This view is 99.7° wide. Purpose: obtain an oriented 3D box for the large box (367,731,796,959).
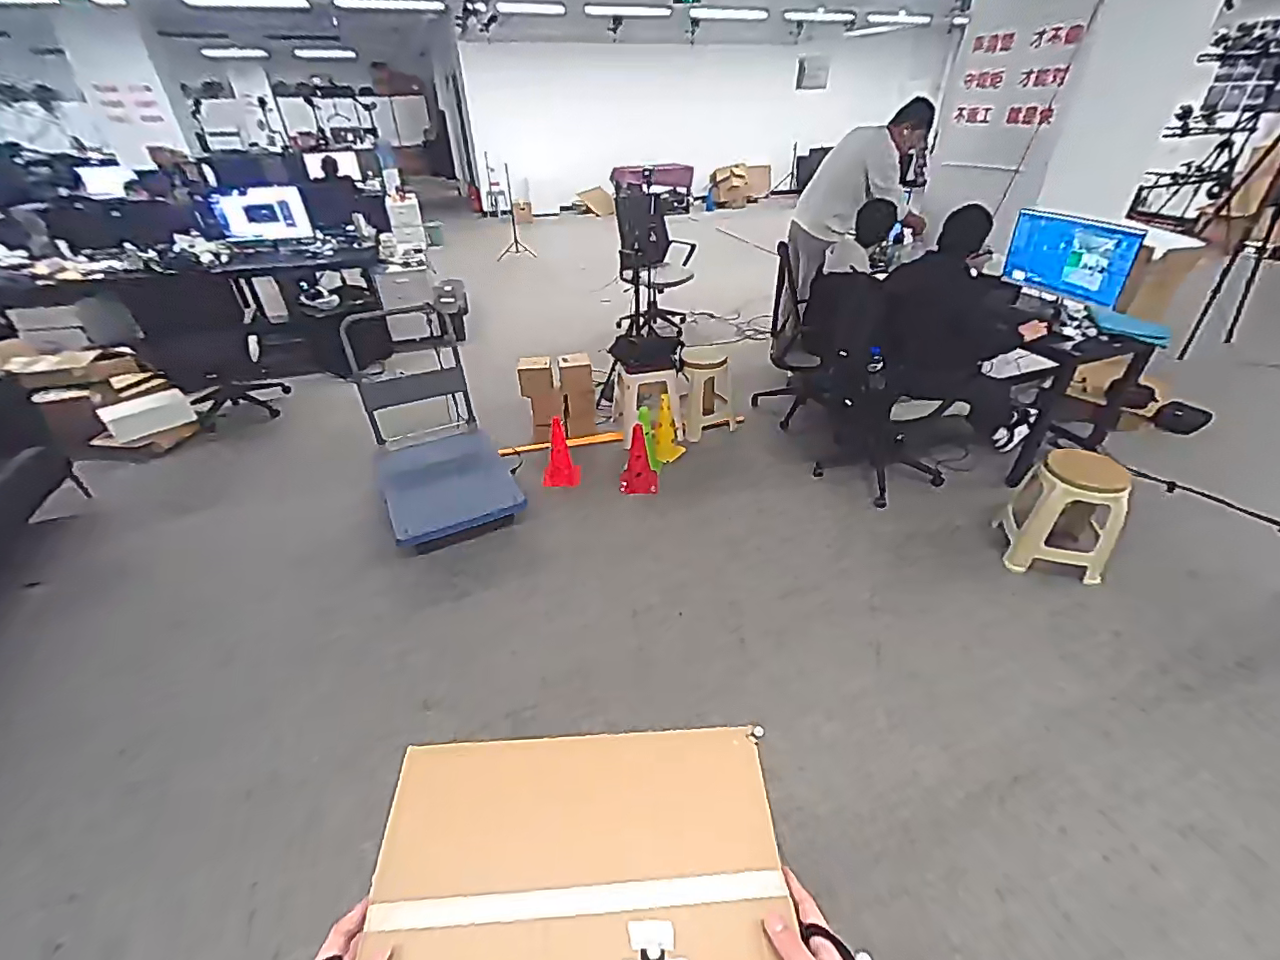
[{"bbox_3d":[-0.061,0.528,0.629,0.408,0.320,0.320,-2,42,-4],"label":"large box"}]
